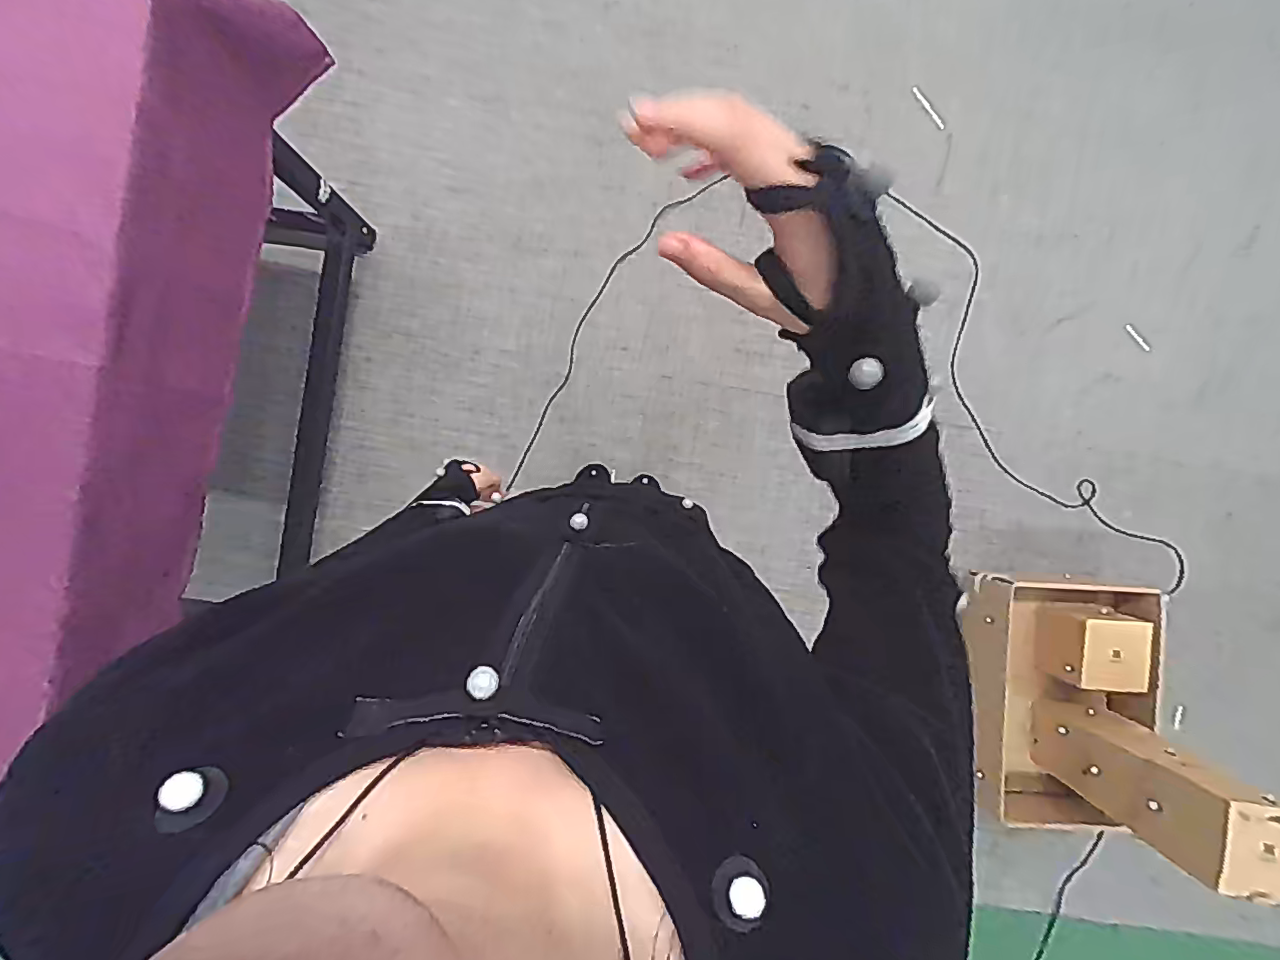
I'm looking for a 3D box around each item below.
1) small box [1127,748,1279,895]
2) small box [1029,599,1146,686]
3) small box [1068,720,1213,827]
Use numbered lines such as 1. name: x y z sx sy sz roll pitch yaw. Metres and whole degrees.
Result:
1. small box: 1.140 0.677 1.088 0.168 0.176 0.179 9 91 -1
2. small box: 1.159 0.416 1.413 0.168 0.176 0.179 4 92 0
3. small box: 1.151 0.677 1.254 0.179 0.176 0.168 5 90 -1
